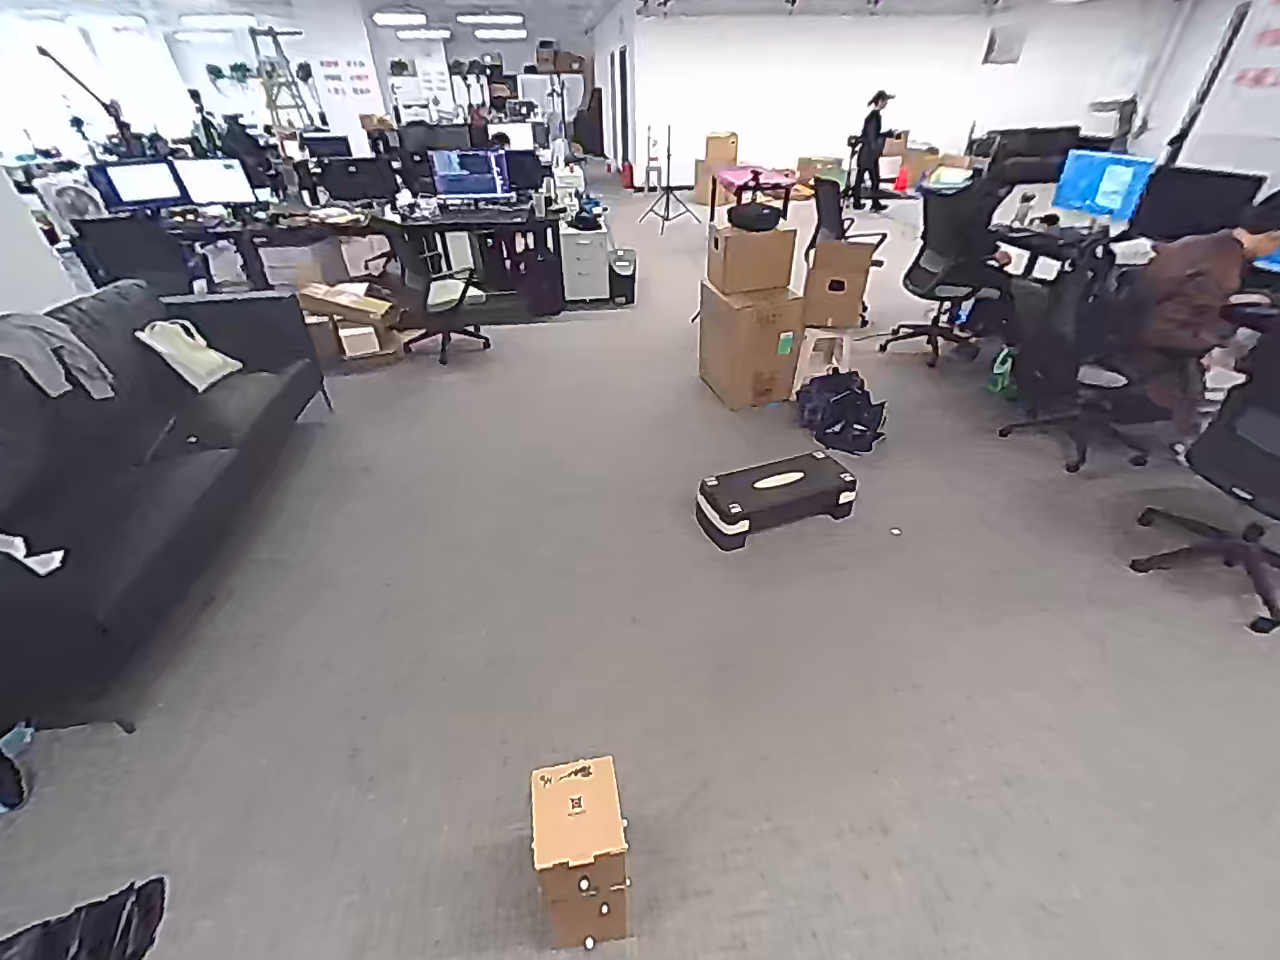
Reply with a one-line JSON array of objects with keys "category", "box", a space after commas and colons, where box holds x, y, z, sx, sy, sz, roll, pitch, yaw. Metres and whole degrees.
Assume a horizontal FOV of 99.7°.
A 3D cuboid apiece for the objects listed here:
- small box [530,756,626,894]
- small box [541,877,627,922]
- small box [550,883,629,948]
[{"category": "small box", "box": [-0.121, 0.682, 1.063, 0.168, 0.176, 0.179, -7, 38, -9]}, {"category": "small box", "box": [-0.121, 0.813, 1.160, 0.168, 0.176, 0.179, -6, 35, -8]}, {"category": "small box", "box": [-0.118, 0.943, 1.256, 0.168, 0.176, 0.179, -6, 37, -6]}]
